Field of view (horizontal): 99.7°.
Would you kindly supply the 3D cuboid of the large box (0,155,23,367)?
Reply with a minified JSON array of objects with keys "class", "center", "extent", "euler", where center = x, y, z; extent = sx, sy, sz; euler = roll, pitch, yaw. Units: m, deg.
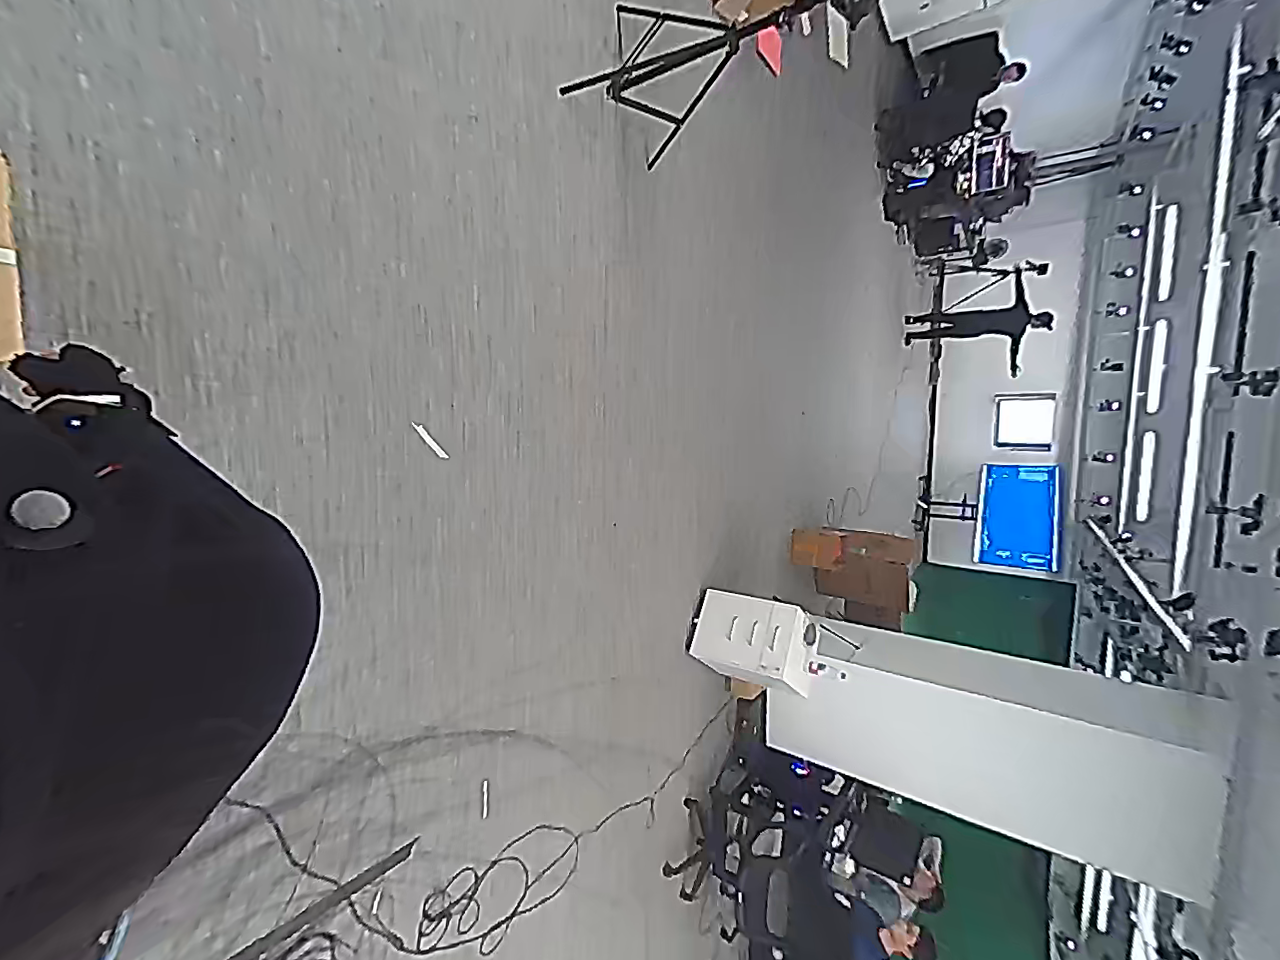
[{"class":"large box","center":[-1.173,-0.322,0.727],"extent":[0.408,0.320,0.320],"euler":[-7,100,-55]}]
